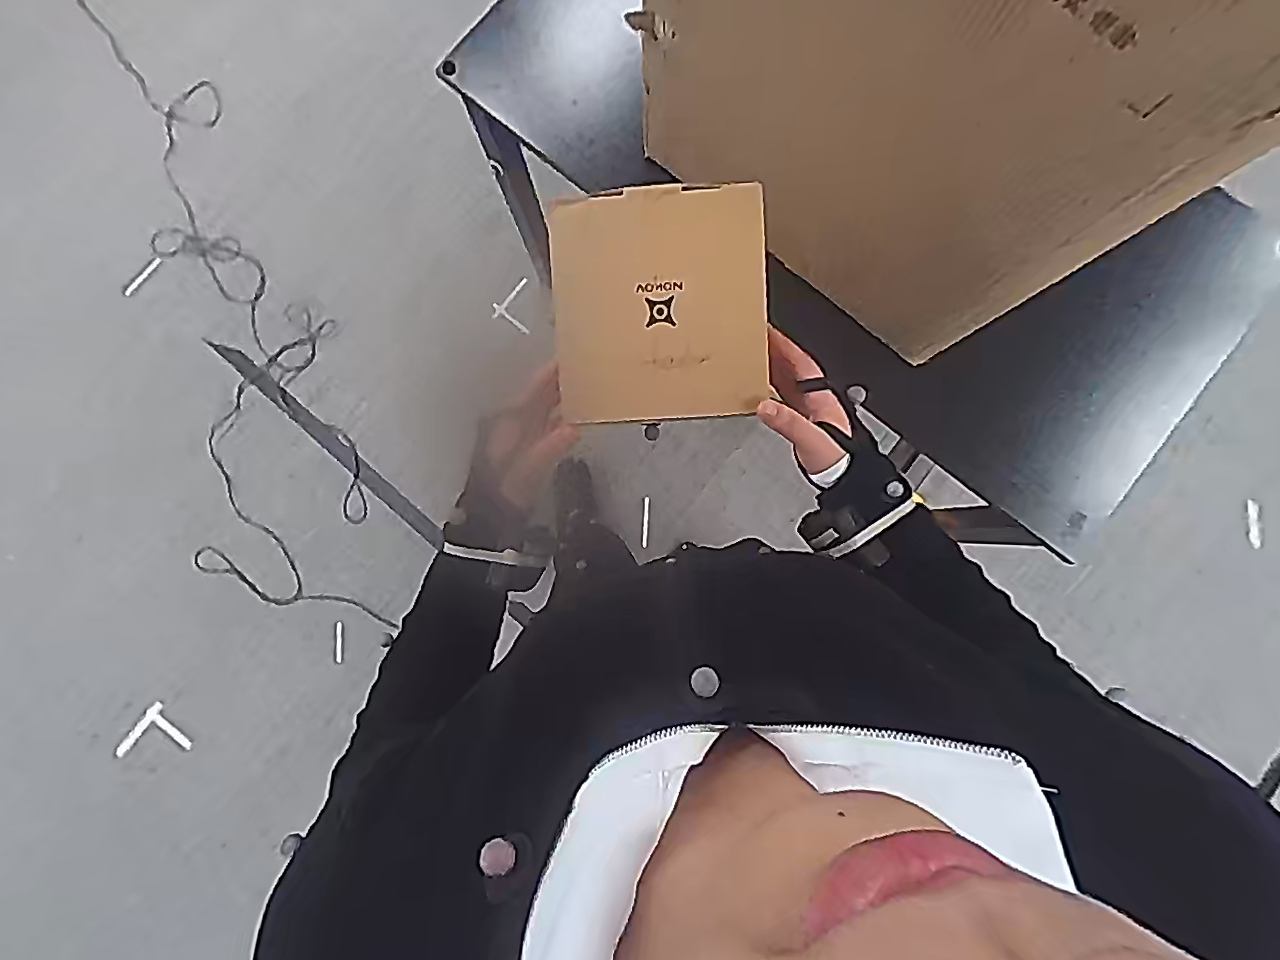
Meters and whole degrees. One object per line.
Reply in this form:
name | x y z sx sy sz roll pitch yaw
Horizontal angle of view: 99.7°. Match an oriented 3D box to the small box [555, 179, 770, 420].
small box | 0.019 -0.146 0.496 0.168 0.176 0.179 -2 96 2
